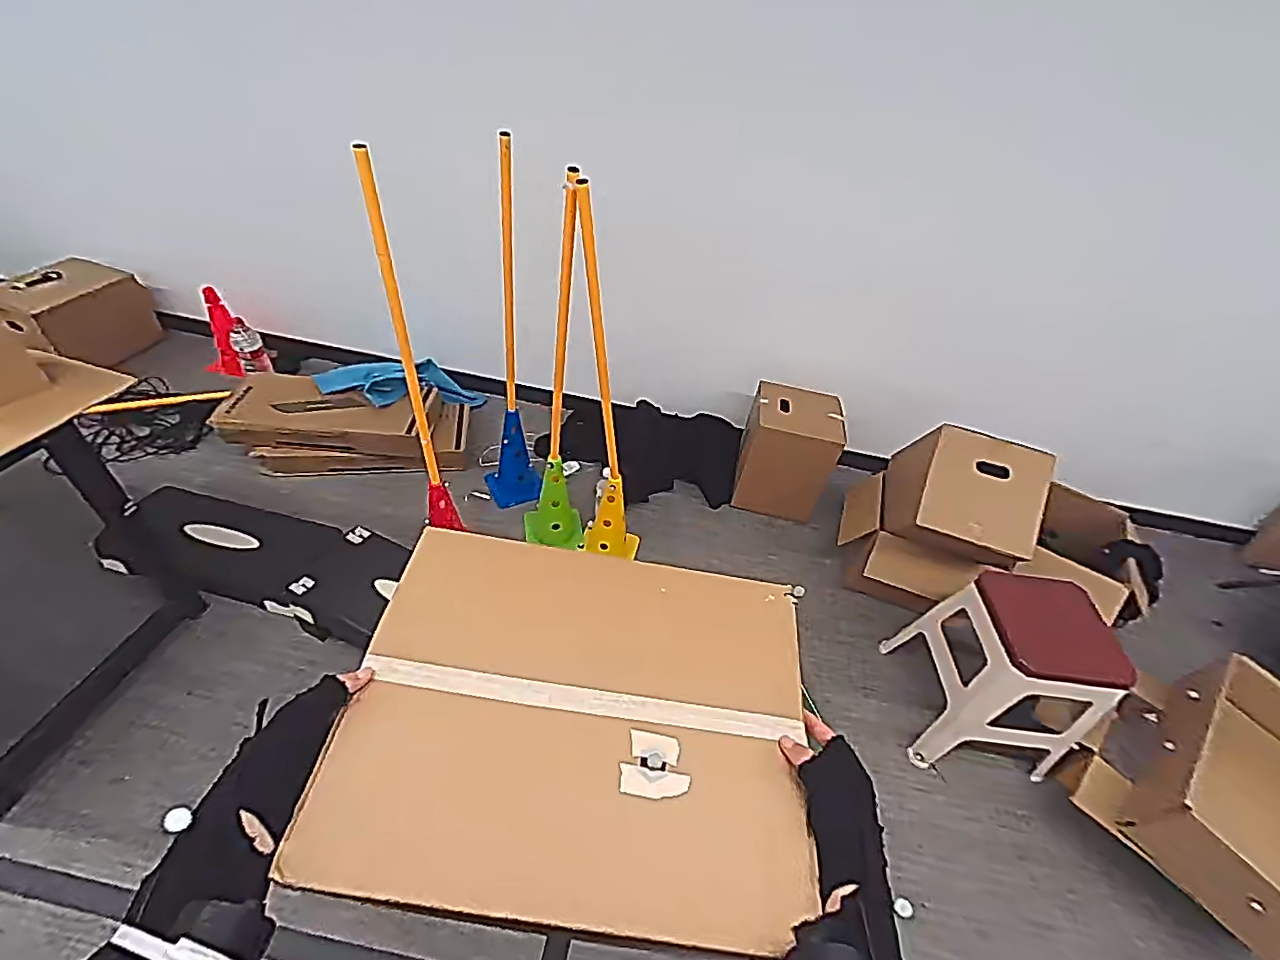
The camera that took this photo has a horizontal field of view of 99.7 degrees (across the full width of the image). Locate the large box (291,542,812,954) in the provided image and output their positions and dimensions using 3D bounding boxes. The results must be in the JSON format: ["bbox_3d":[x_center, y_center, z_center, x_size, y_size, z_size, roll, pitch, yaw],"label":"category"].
[{"bbox_3d":[-0.070,0.308,0.611,0.408,0.320,0.320,10,49,-1],"label":"large box"}]
